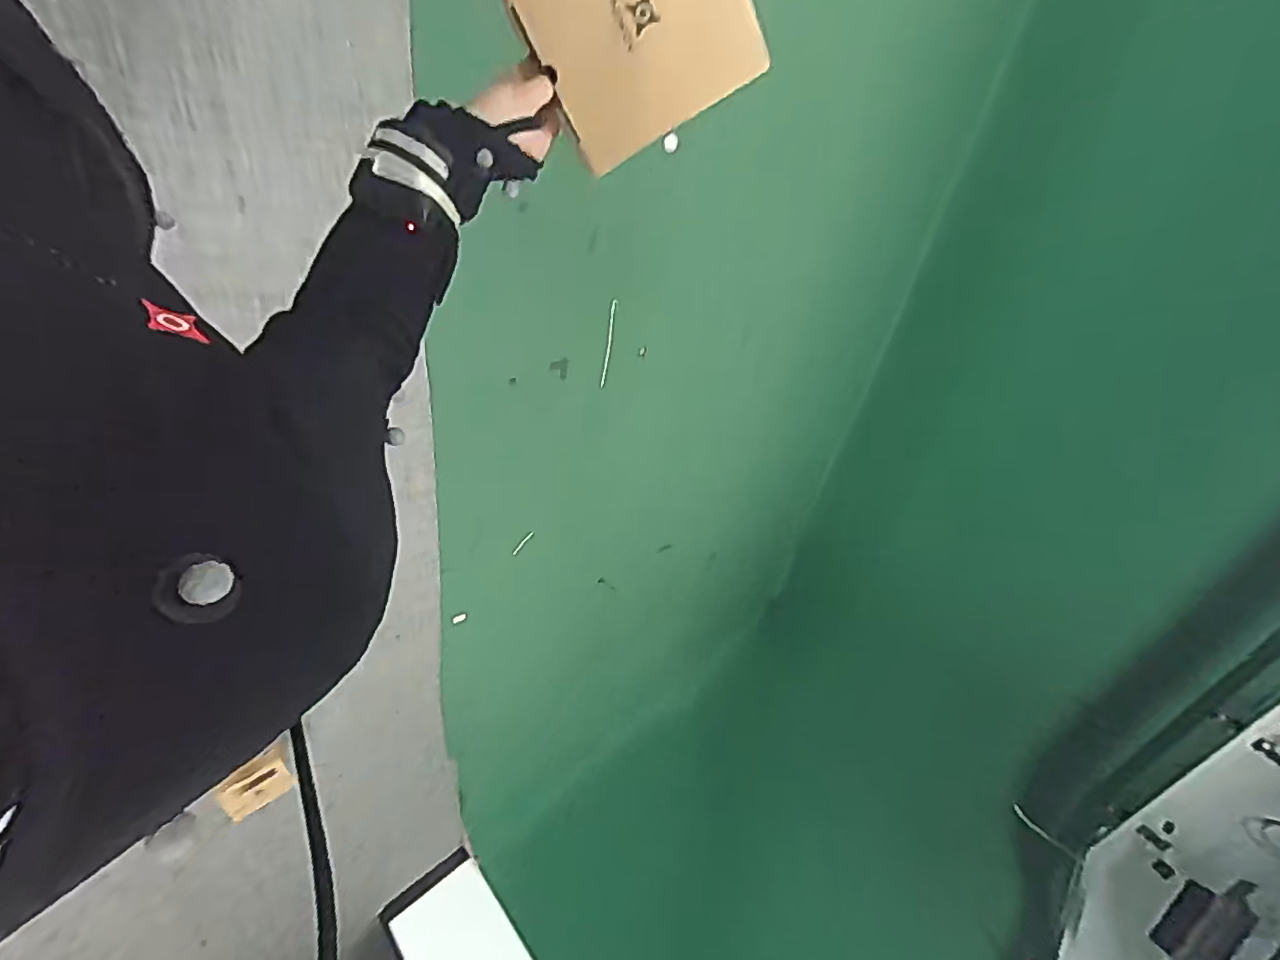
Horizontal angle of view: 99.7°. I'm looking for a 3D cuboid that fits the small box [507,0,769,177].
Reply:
[{"bbox_3d":[-0.011,-0.411,0.497,0.179,0.176,0.168,-27,121,10],"label":"small box"}]
